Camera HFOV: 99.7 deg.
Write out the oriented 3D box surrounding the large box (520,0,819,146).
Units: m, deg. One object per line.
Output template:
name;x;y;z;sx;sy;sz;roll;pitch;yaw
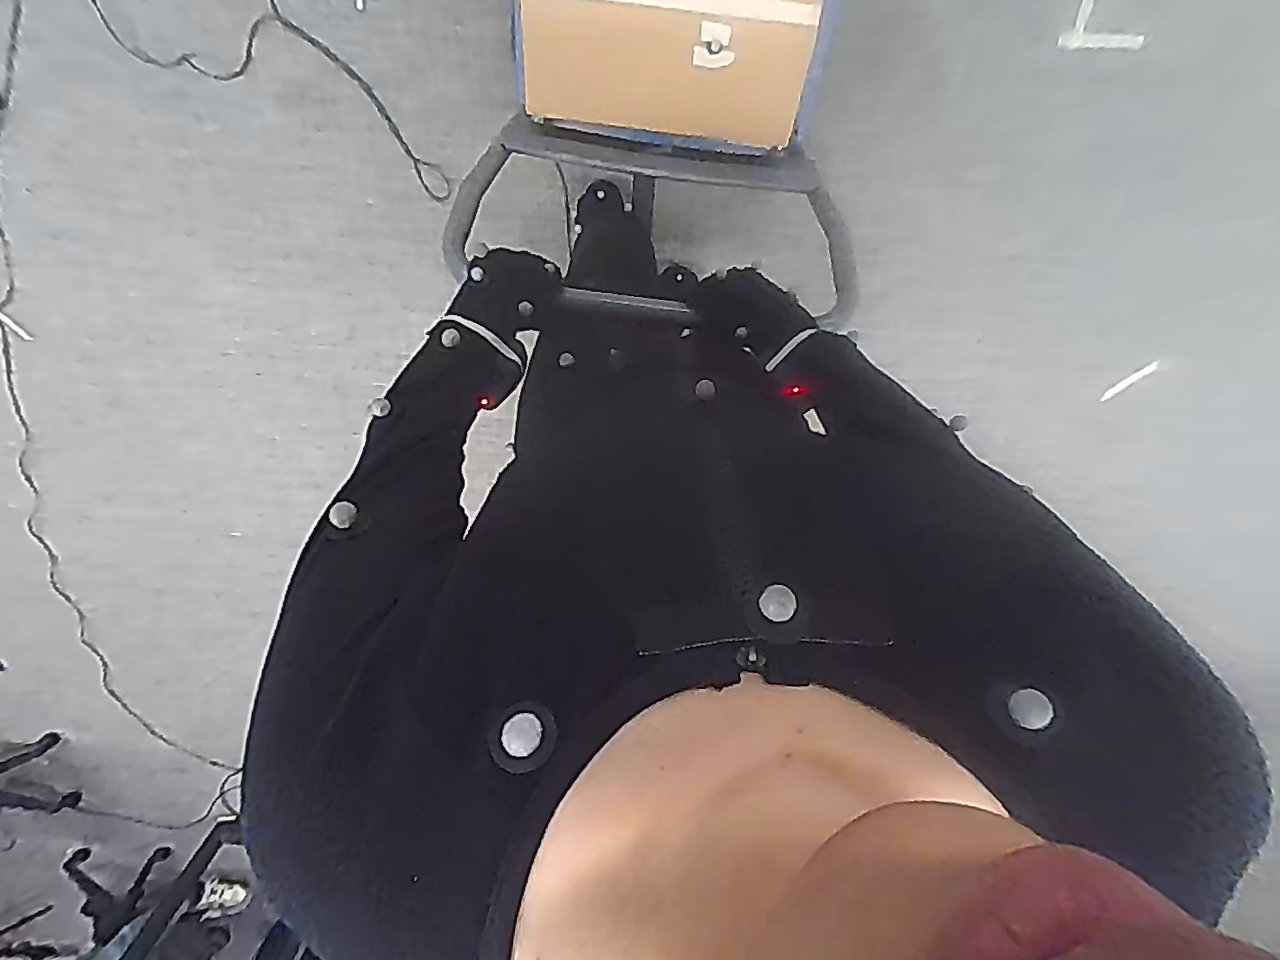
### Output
large box;0.040;-0.738;0.823;0.408;0.320;0.320;5;135;-3
